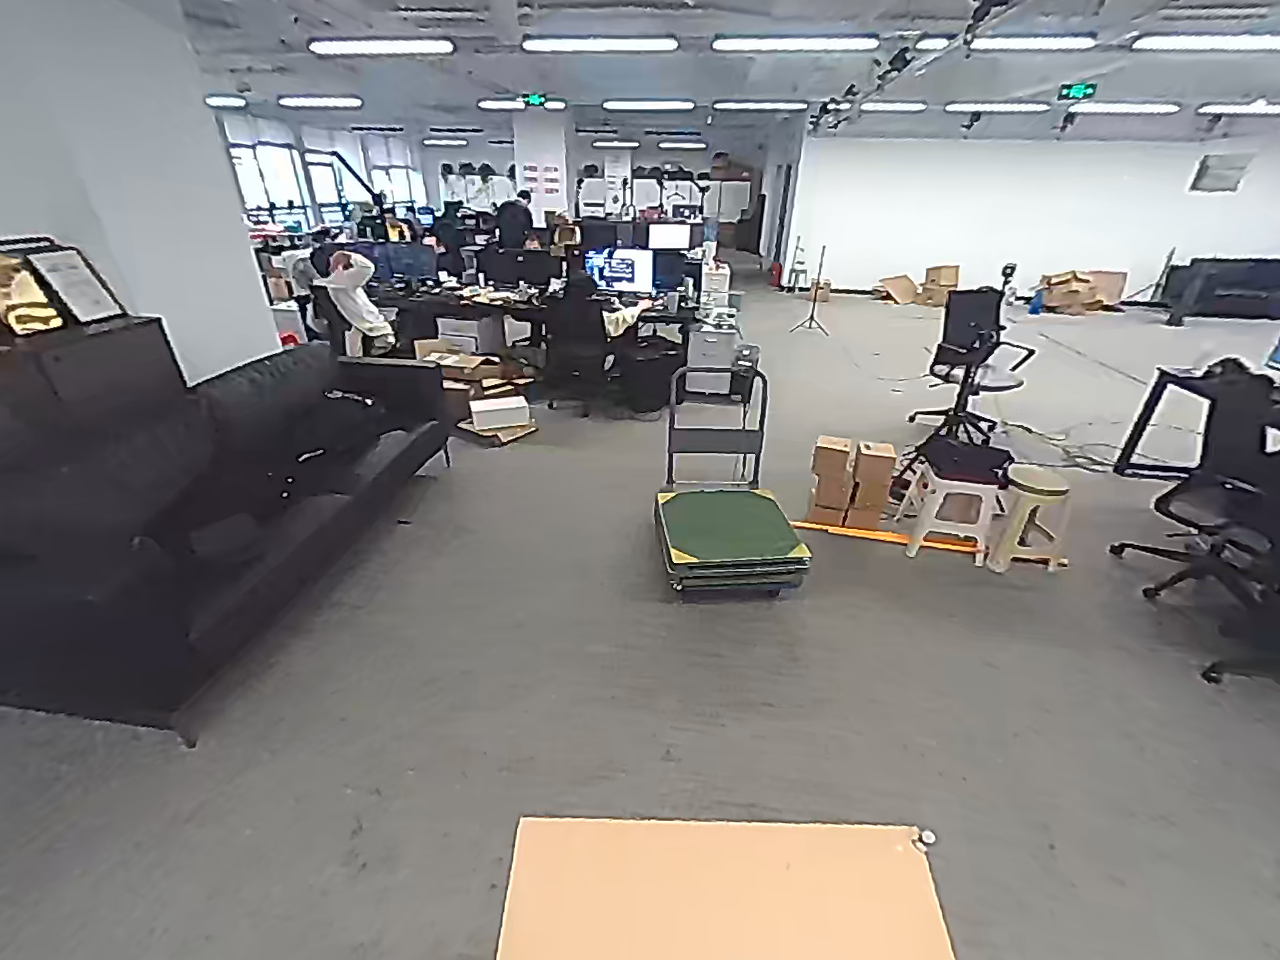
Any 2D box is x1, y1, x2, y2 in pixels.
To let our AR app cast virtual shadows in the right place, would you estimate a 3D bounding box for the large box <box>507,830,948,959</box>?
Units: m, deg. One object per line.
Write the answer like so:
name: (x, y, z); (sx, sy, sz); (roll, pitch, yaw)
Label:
large box: (0.078, 0.576, 0.553); (0.408, 0.320, 0.320); (0, 47, 1)
